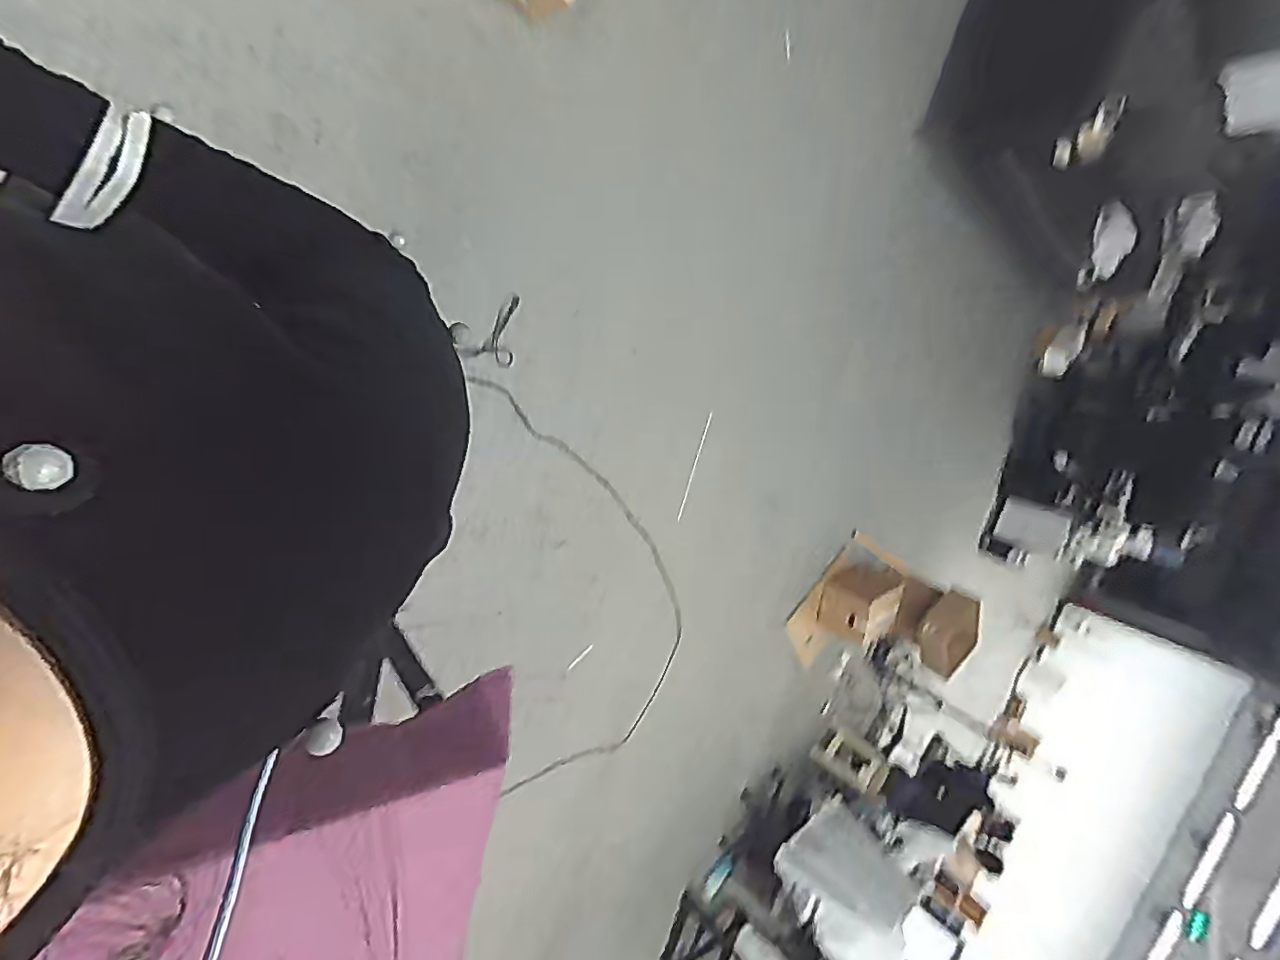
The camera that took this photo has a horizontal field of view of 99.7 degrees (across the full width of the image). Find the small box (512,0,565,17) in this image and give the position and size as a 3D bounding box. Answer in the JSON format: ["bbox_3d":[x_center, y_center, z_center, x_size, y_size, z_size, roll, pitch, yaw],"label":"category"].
[{"bbox_3d":[-0.251,-1.228,1.245,0.168,0.176,0.179,12,101,-44],"label":"small box"}]
